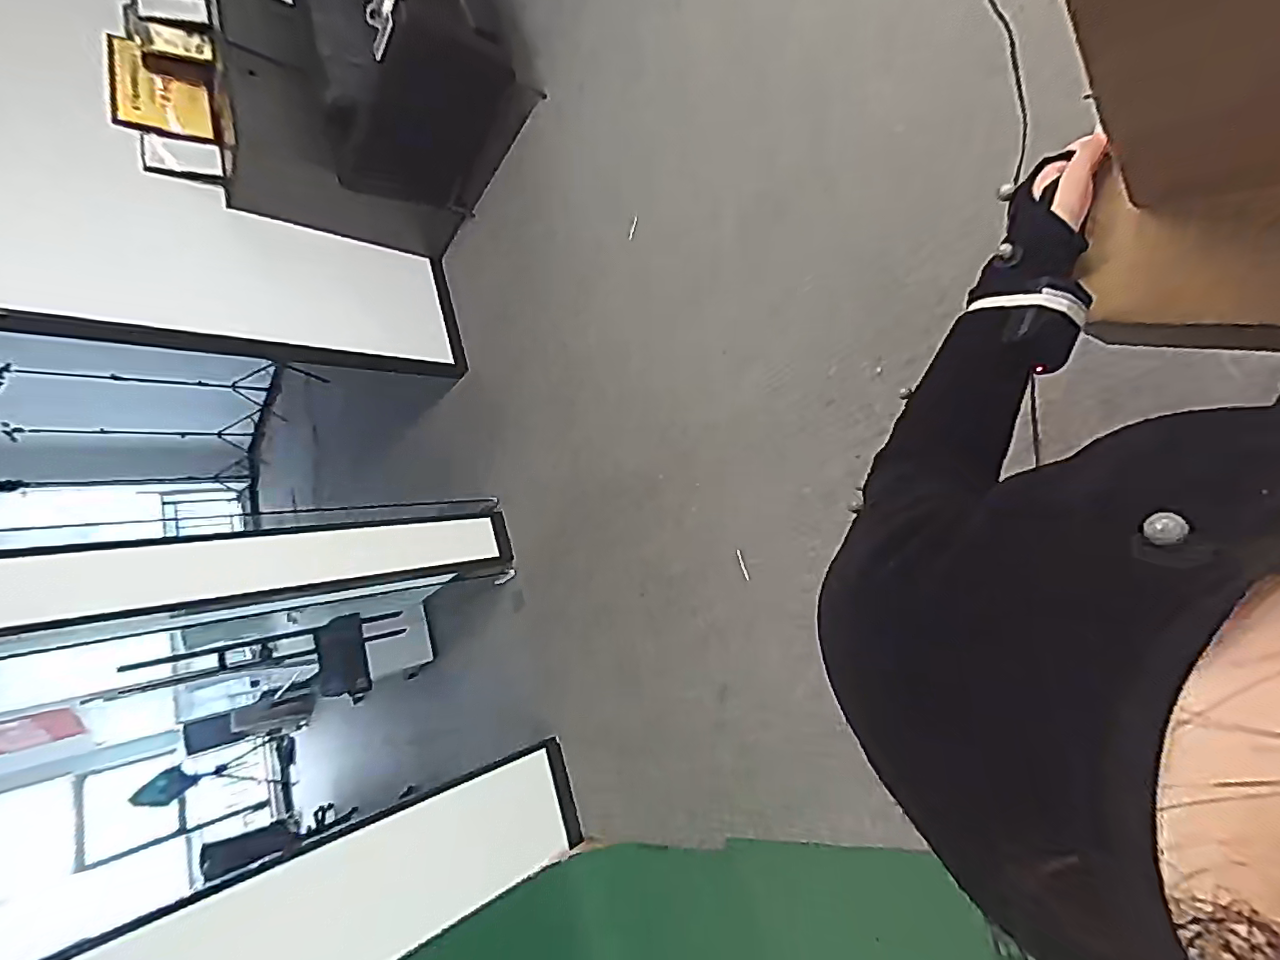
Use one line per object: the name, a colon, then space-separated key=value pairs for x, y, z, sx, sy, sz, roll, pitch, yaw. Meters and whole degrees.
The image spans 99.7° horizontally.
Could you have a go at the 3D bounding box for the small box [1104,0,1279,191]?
small box: x=0.394 y=-0.285 z=0.300 sx=0.179 sy=0.176 sz=0.168 roll=12 pitch=103 yaw=46

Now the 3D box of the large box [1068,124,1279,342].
large box: x=0.627 y=-0.275 z=0.413 sx=0.408 sy=0.320 sz=0.320 roll=16 pitch=109 yaw=44
